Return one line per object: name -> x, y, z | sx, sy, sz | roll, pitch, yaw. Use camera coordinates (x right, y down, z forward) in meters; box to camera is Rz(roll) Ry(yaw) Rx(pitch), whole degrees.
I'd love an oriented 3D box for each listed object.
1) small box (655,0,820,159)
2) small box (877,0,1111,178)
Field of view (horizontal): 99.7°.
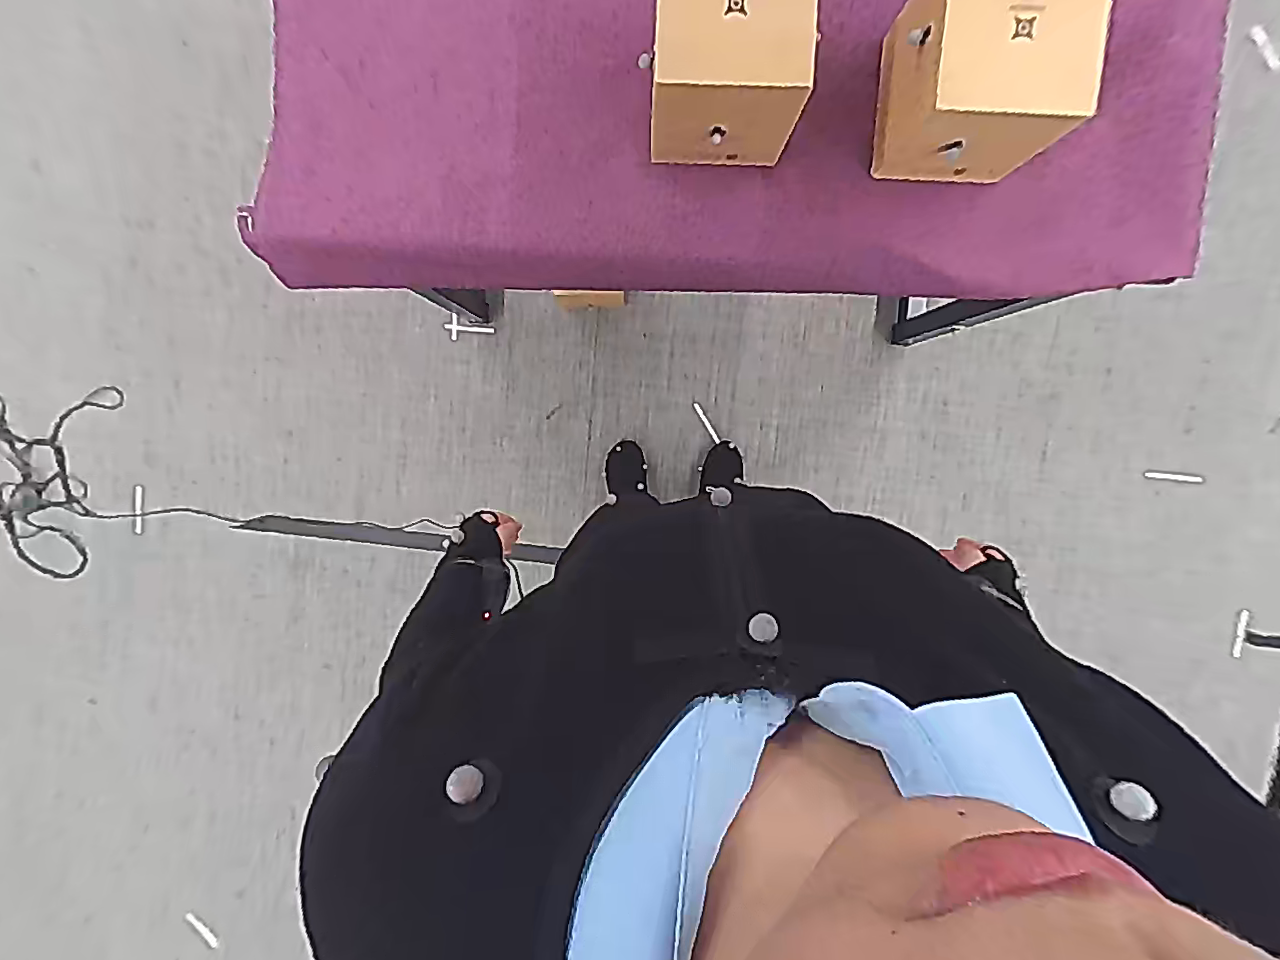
small box -> 0.103, -0.503, 0.630 | 0.168, 0.176, 0.179 | 2, 95, 0
small box -> 0.394, -0.477, 0.629 | 0.168, 0.176, 0.179 | 3, 96, 1
